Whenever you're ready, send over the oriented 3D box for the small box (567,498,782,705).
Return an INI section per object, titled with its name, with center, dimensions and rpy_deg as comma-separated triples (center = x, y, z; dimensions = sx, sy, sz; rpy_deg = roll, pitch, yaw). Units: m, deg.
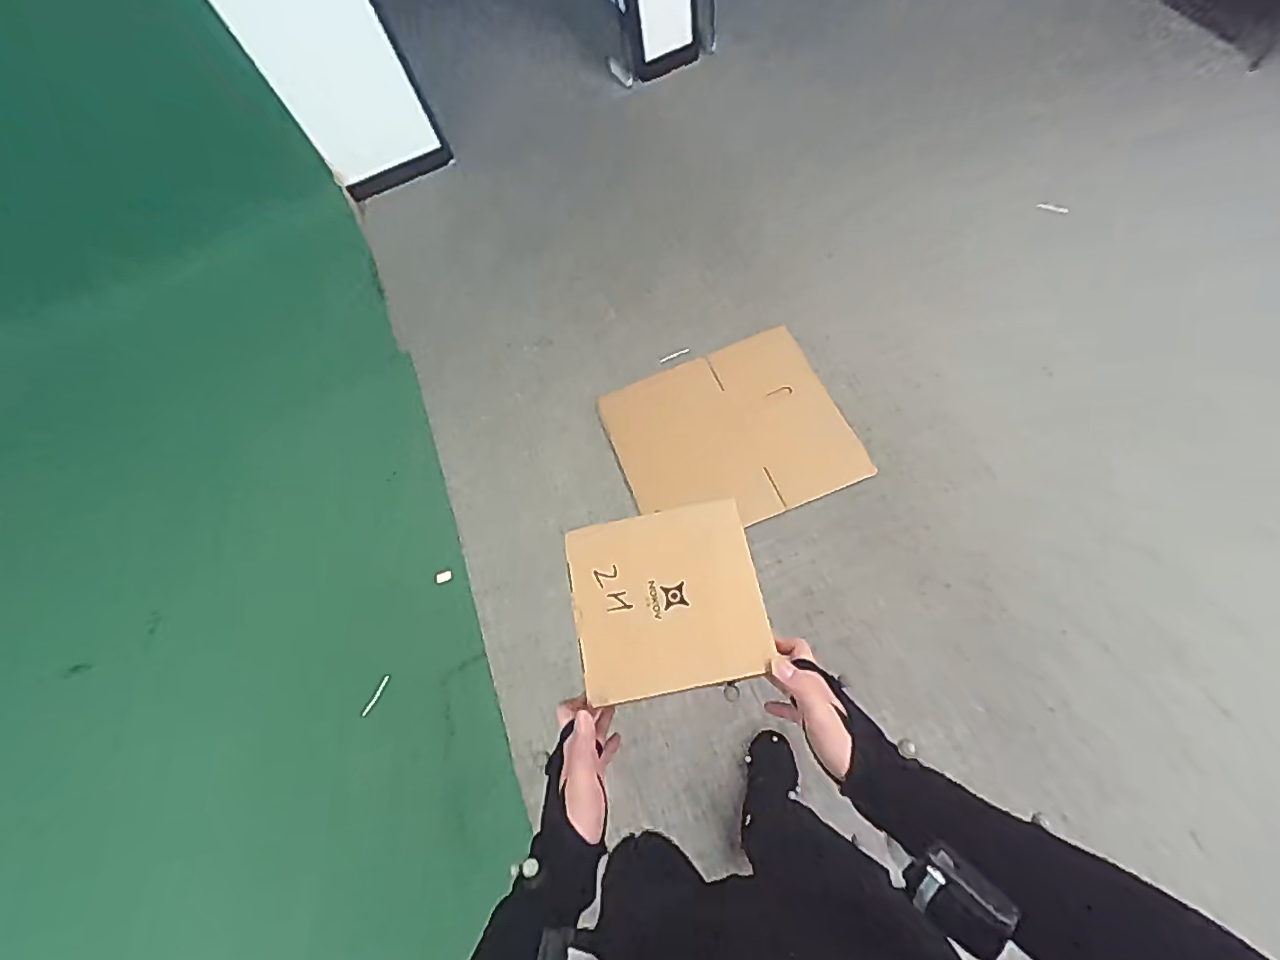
[small box]
center = 0.033, 0.135, 0.575
dimensions = 0.179, 0.176, 0.168
rpy_deg = -12, 68, 1
